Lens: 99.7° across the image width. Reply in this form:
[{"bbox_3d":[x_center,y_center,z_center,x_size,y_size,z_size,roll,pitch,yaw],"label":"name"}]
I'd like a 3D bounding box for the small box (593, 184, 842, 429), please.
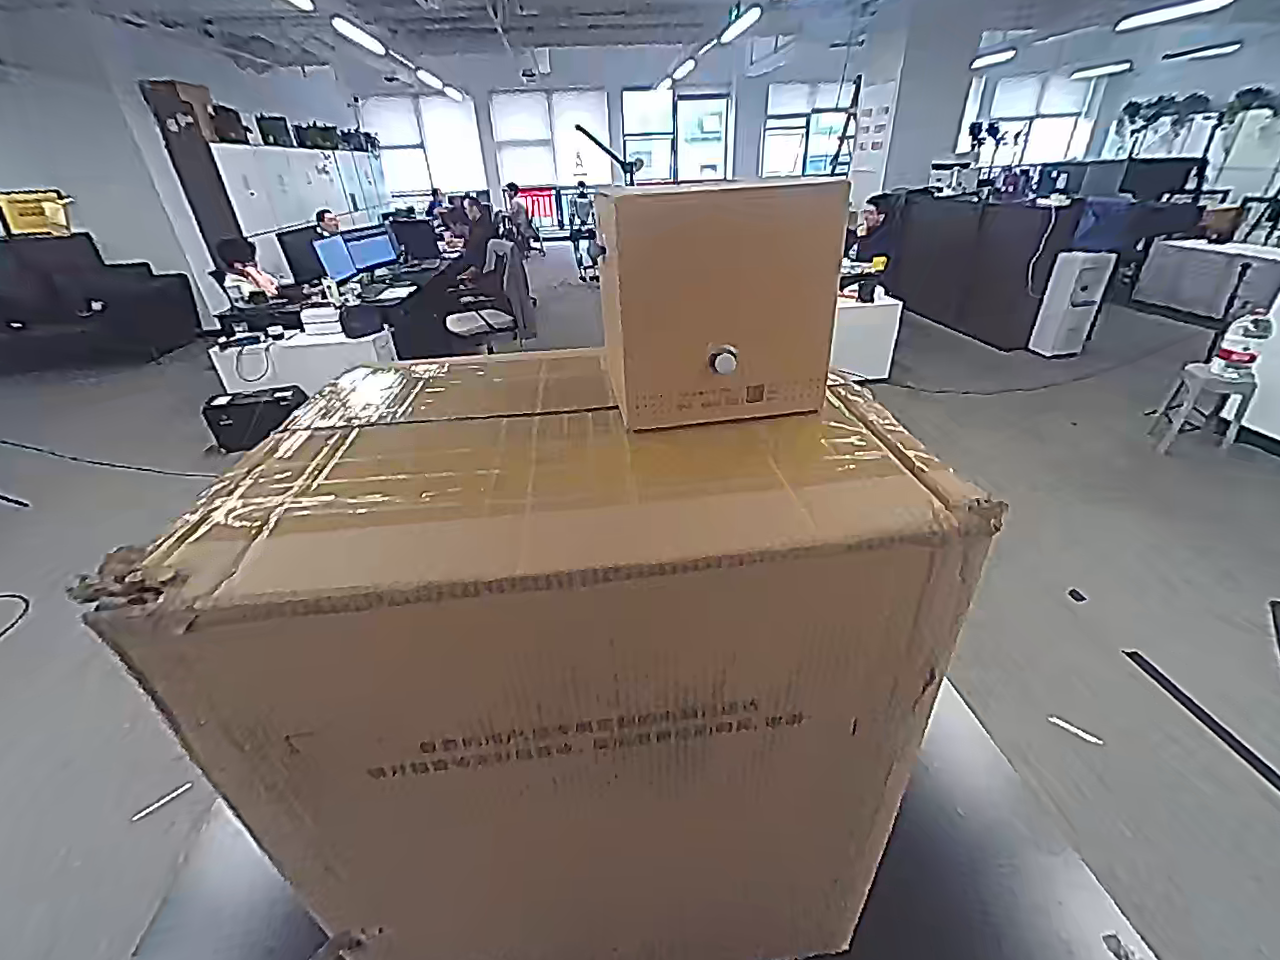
[{"bbox_3d":[0.051,-0.157,0.473,0.168,0.176,0.179,-8,30,-5],"label":"small box"}]
